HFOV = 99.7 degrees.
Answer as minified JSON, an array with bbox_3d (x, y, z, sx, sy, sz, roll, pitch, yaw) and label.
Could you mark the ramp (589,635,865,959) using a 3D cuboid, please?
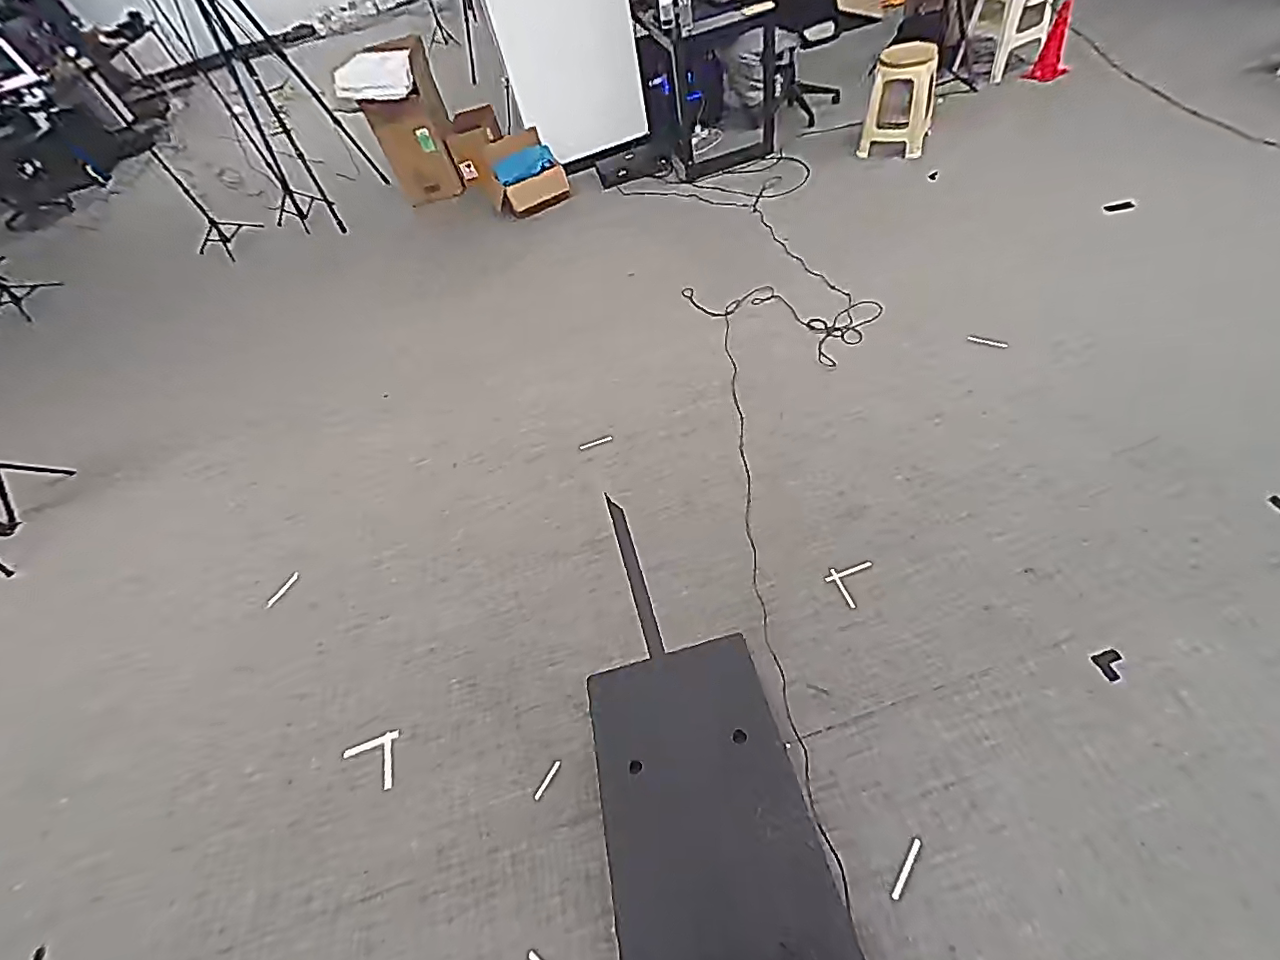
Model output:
[{"bbox_3d":[0.164,0.851,1.257,0.509,0.206,0.991,-19,51,0],"label":"ramp"}]
